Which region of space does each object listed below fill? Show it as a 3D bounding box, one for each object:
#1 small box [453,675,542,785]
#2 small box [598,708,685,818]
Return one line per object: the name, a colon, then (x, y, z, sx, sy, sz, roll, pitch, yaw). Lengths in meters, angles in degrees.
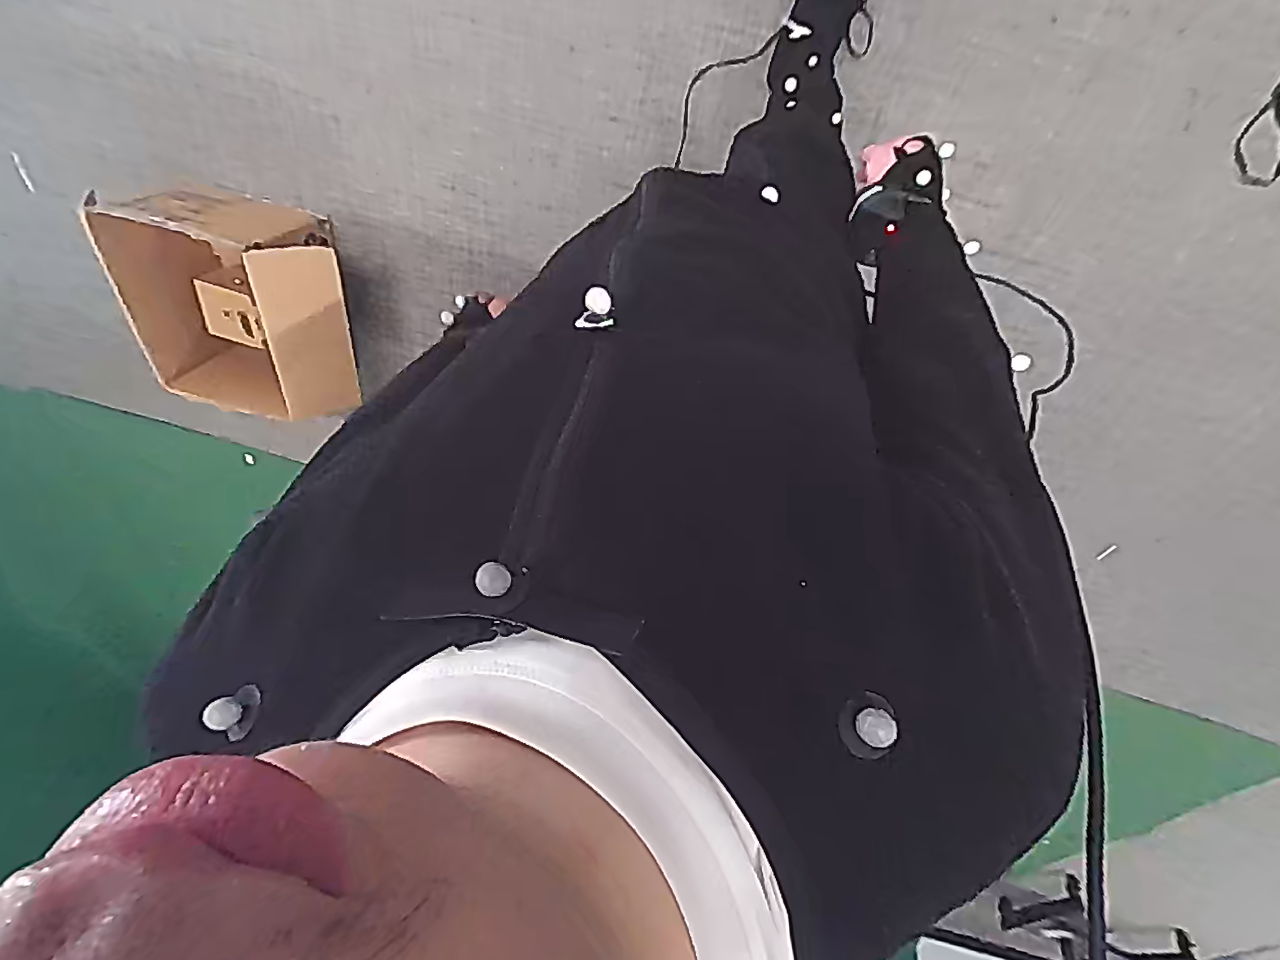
small box: (-0.353, 0.624, 1.357, 0.168, 0.176, 0.179, 15, 128, 2)
small box: (0.007, 0.704, 1.350, 0.168, 0.176, 0.179, 17, 130, 1)
